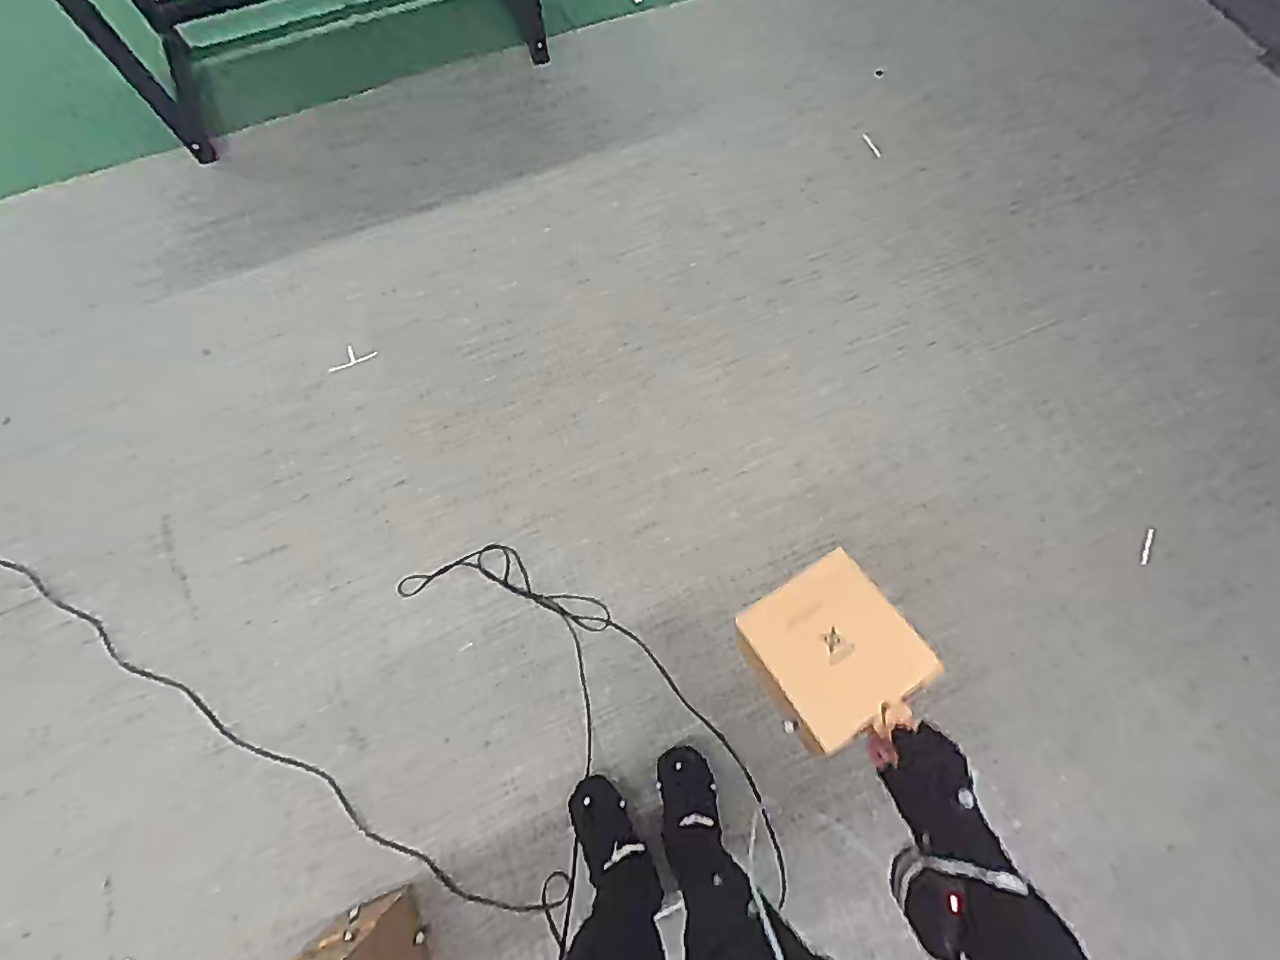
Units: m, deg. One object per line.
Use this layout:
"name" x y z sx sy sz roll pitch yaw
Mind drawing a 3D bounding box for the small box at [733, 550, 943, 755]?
"small box" 0.237 0.224 0.694 0.168 0.176 0.179 -31 62 -7

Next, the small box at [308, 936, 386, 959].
"small box" -0.513 0.884 0.865 0.168 0.176 0.179 -20 74 -6

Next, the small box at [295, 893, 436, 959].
"small box" -0.510 0.929 1.026 0.168 0.176 0.179 -25 72 -4
